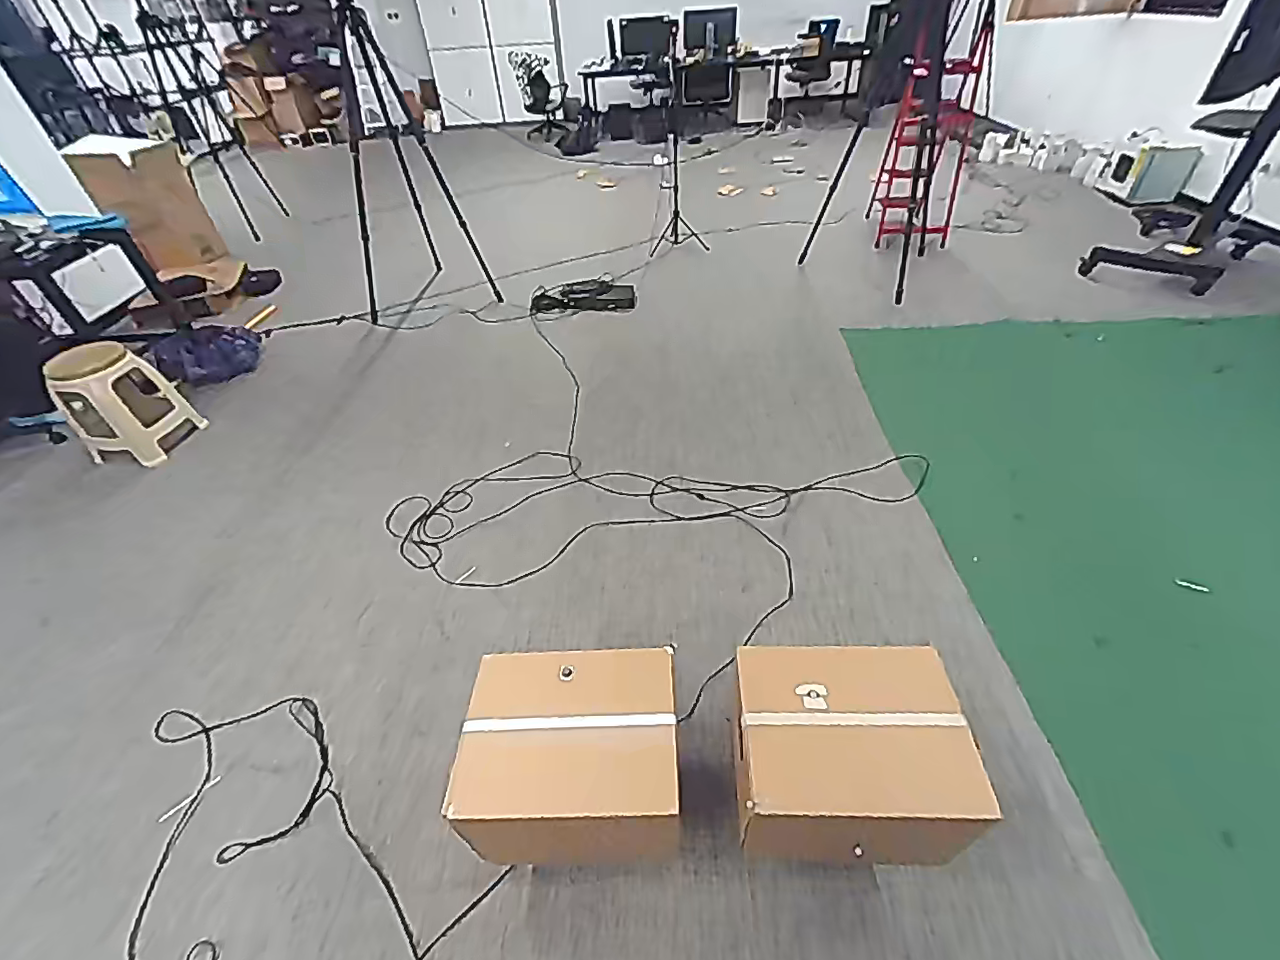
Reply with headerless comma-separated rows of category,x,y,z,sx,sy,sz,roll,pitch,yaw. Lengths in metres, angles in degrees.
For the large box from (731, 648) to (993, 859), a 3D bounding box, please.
large box,0.407,0.566,1.117,0.408,0.320,0.320,-1,42,4
